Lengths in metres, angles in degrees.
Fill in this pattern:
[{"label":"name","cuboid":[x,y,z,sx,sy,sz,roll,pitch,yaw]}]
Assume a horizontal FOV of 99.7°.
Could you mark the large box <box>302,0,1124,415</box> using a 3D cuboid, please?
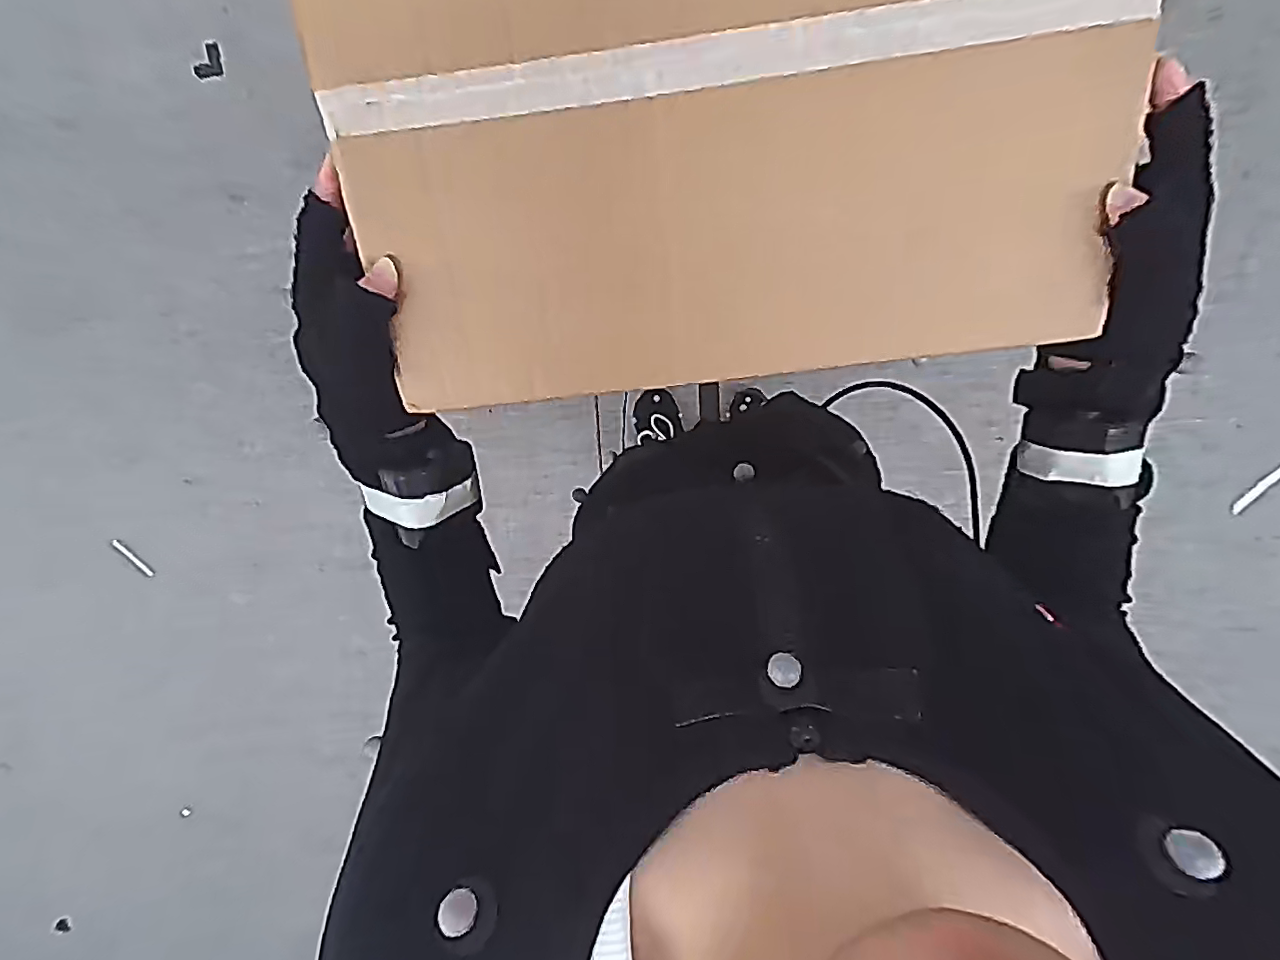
[{"label":"large box","cuboid":[0.041,-0.259,0.412,0.408,0.320,0.320,-6,111,3]}]
